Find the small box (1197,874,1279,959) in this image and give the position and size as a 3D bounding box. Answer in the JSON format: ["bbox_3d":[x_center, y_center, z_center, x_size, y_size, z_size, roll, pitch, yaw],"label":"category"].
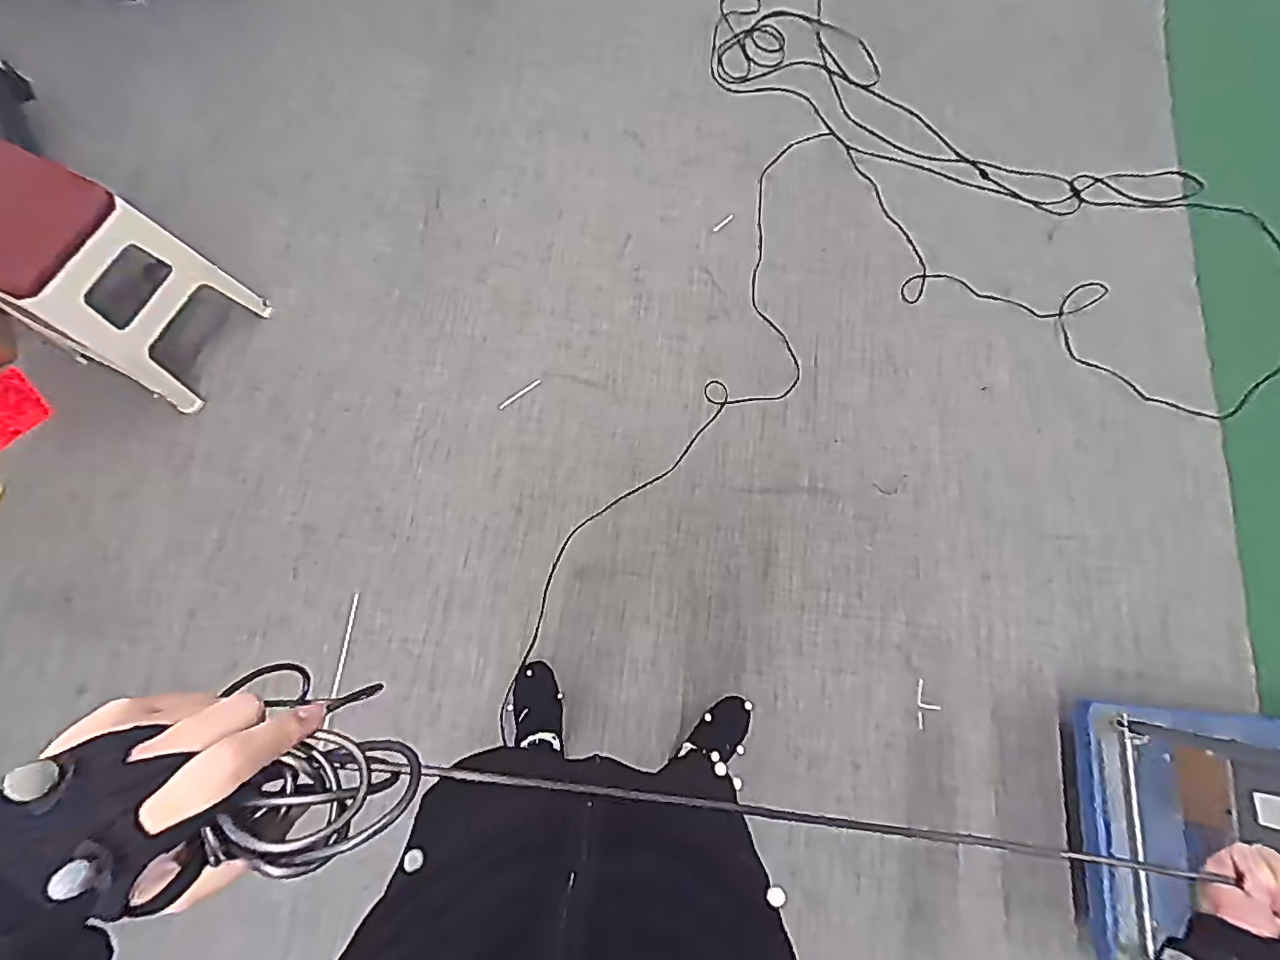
[{"bbox_3d":[1.346,0.966,1.137,0.179,0.176,0.168,8,75,-1],"label":"small box"}]
